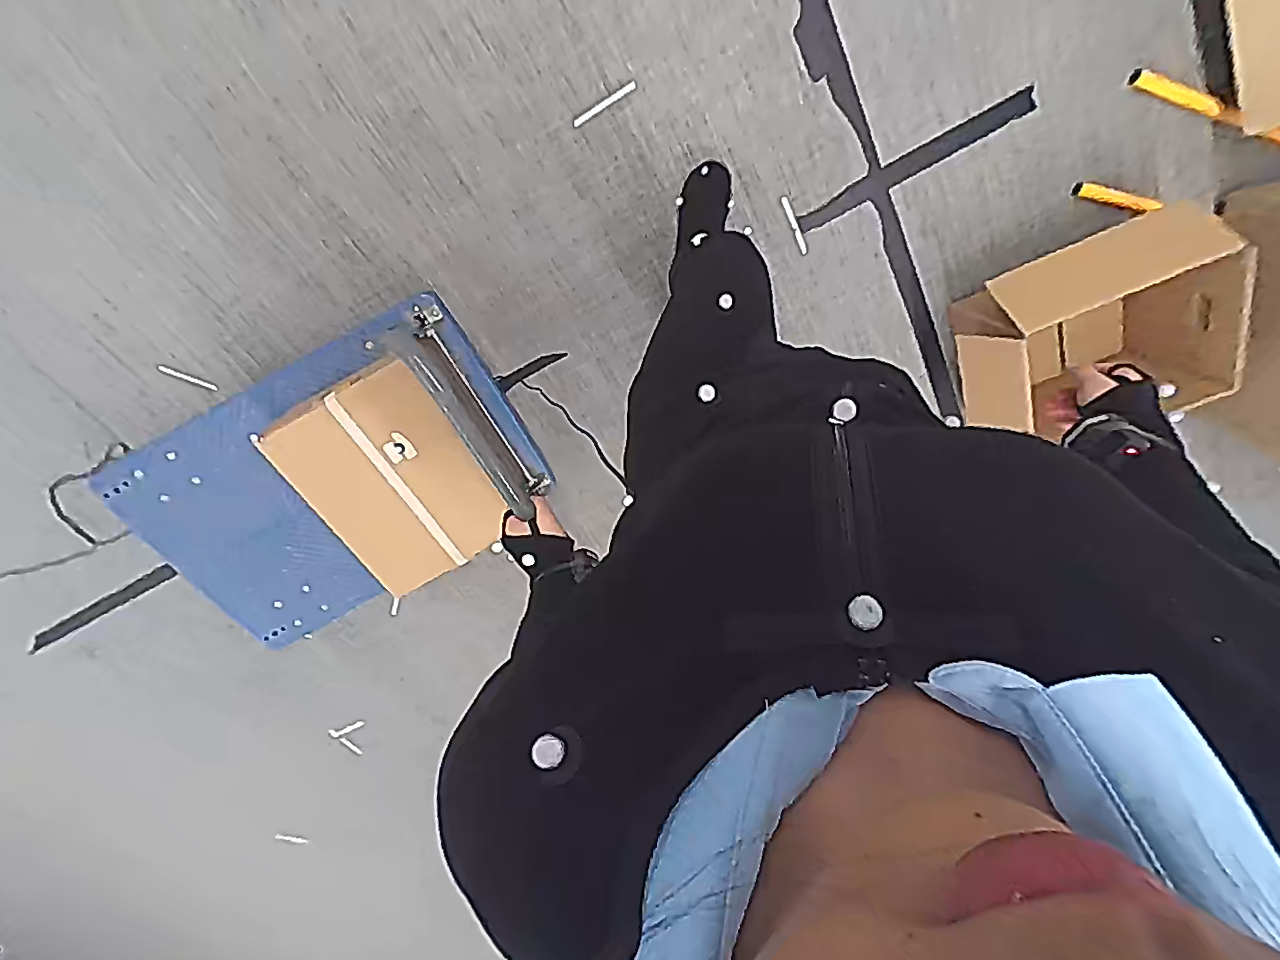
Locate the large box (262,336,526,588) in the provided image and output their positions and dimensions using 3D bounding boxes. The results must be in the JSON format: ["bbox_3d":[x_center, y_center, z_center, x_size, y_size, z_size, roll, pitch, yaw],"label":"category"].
[{"bbox_3d":[-0.492,-0.052,1.189,0.320,0.320,0.408,-31,115,-3],"label":"large box"}]
